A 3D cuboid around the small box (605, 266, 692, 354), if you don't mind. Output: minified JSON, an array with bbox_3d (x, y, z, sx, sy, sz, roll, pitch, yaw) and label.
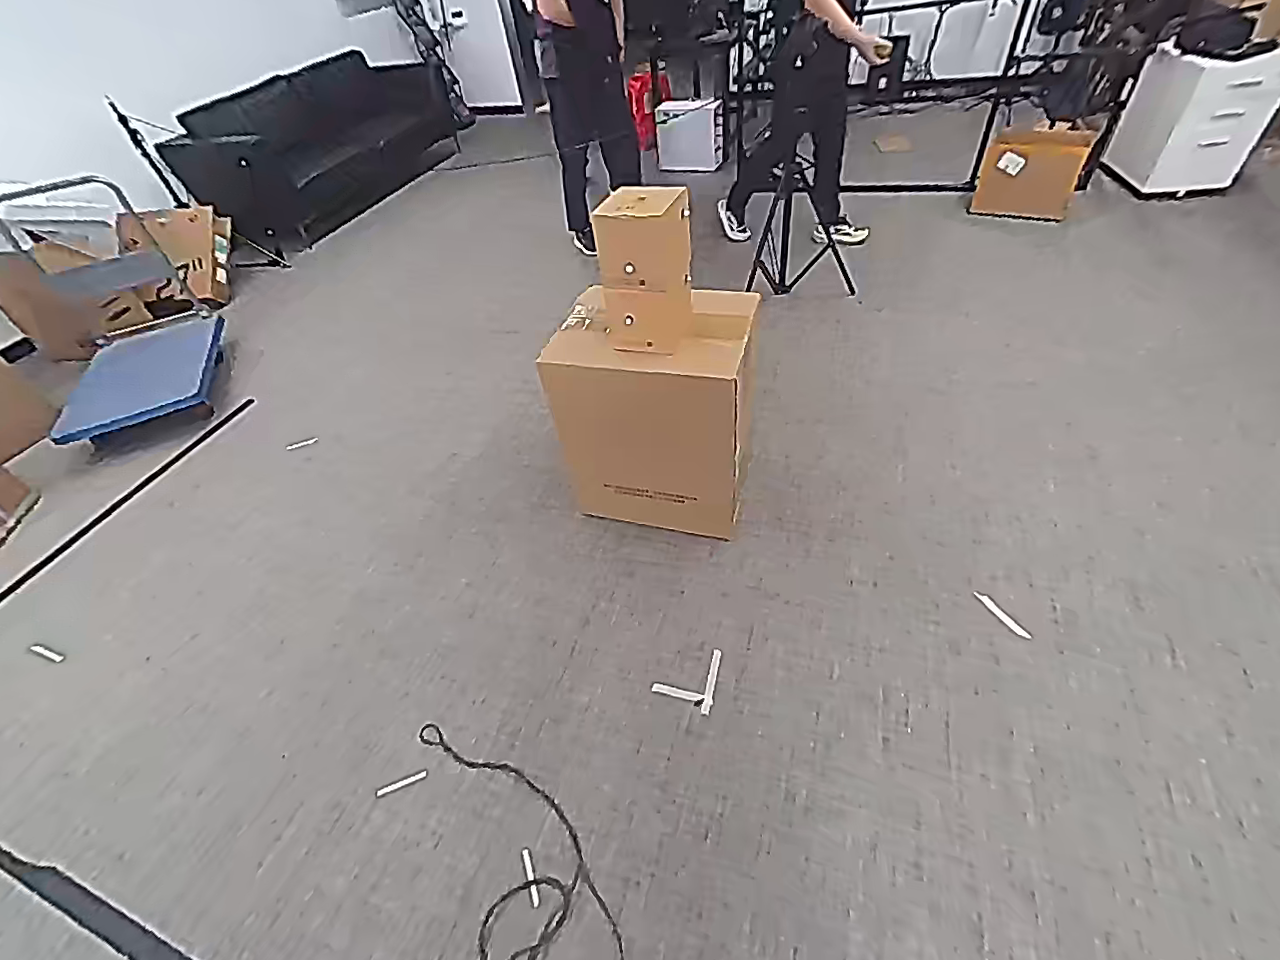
[{"bbox_3d":[0.031,-0.435,1.363,0.168,0.176,0.179,10,48,18],"label":"small box"}]

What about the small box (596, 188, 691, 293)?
[{"bbox_3d":[0.016,-0.555,1.250,0.168,0.176,0.179,11,48,20],"label":"small box"}]
